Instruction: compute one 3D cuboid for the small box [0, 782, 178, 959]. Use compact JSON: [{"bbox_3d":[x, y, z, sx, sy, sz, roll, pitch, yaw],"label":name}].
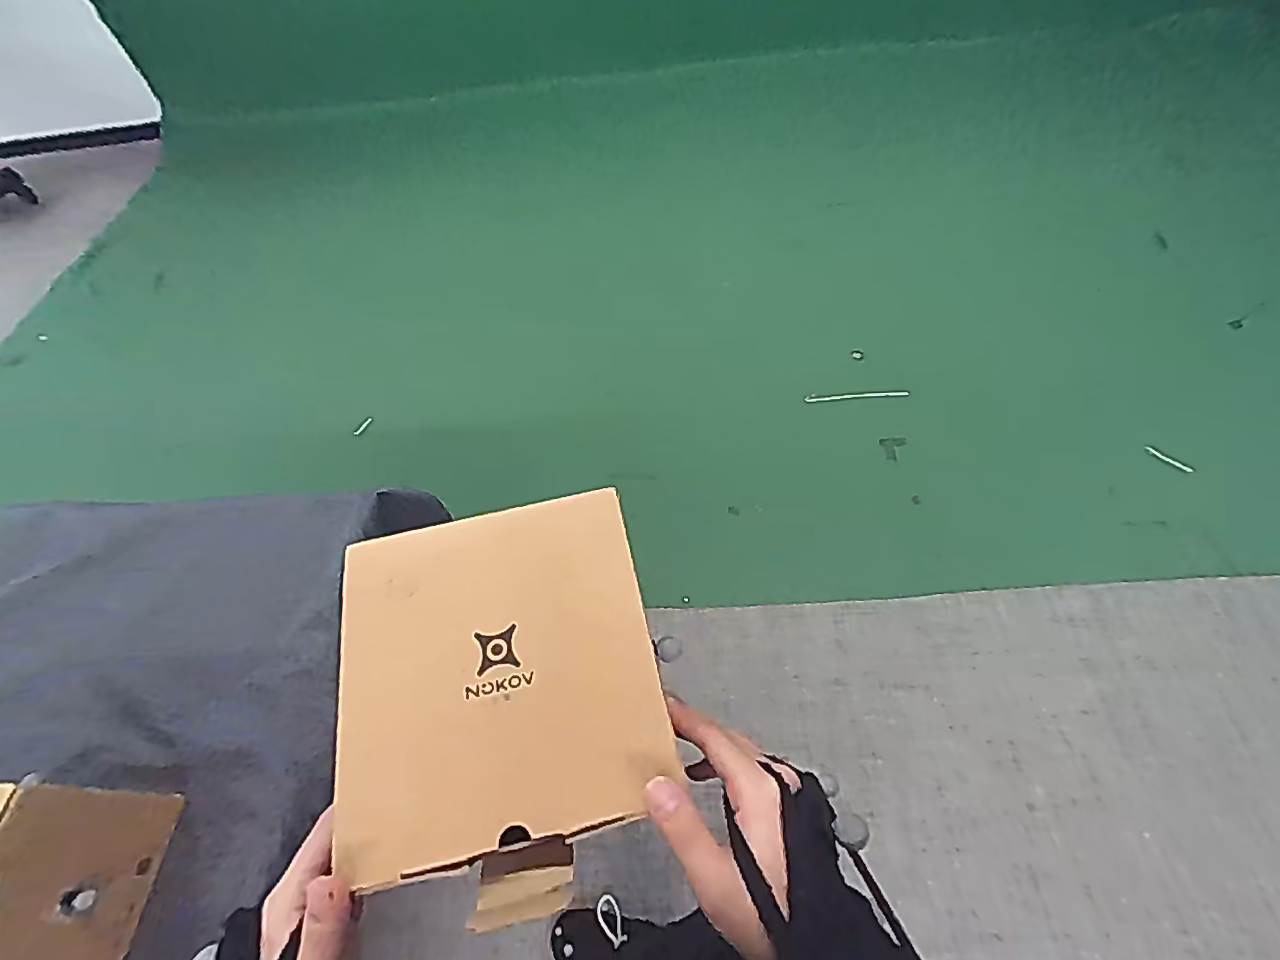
[{"bbox_3d":[-0.564,0.355,0.463,0.179,0.176,0.168,-3,57,3],"label":"small box"}]
